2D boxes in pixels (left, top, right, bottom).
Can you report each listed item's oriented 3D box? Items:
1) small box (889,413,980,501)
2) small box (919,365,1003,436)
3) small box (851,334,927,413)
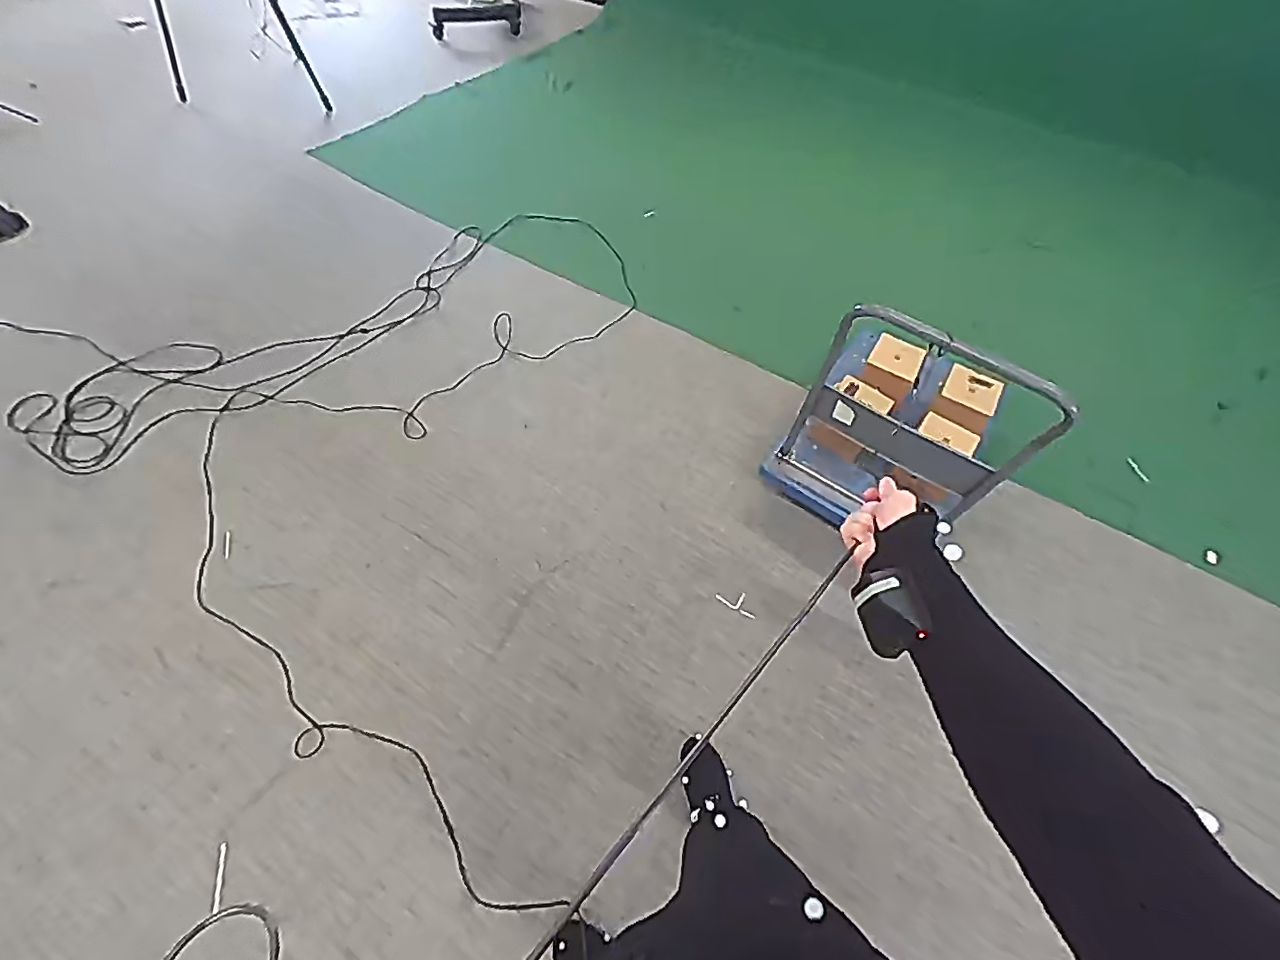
[{"bbox_3d":[0.911,-0.069,1.690,0.168,0.176,0.179,34,61,17],"label":"small box"},{"bbox_3d":[1.071,-0.246,1.816,0.168,0.176,0.179,29,61,16],"label":"small box"},{"bbox_3d":[0.859,-0.365,1.880,0.168,0.176,0.179,30,60,14],"label":"small box"}]
